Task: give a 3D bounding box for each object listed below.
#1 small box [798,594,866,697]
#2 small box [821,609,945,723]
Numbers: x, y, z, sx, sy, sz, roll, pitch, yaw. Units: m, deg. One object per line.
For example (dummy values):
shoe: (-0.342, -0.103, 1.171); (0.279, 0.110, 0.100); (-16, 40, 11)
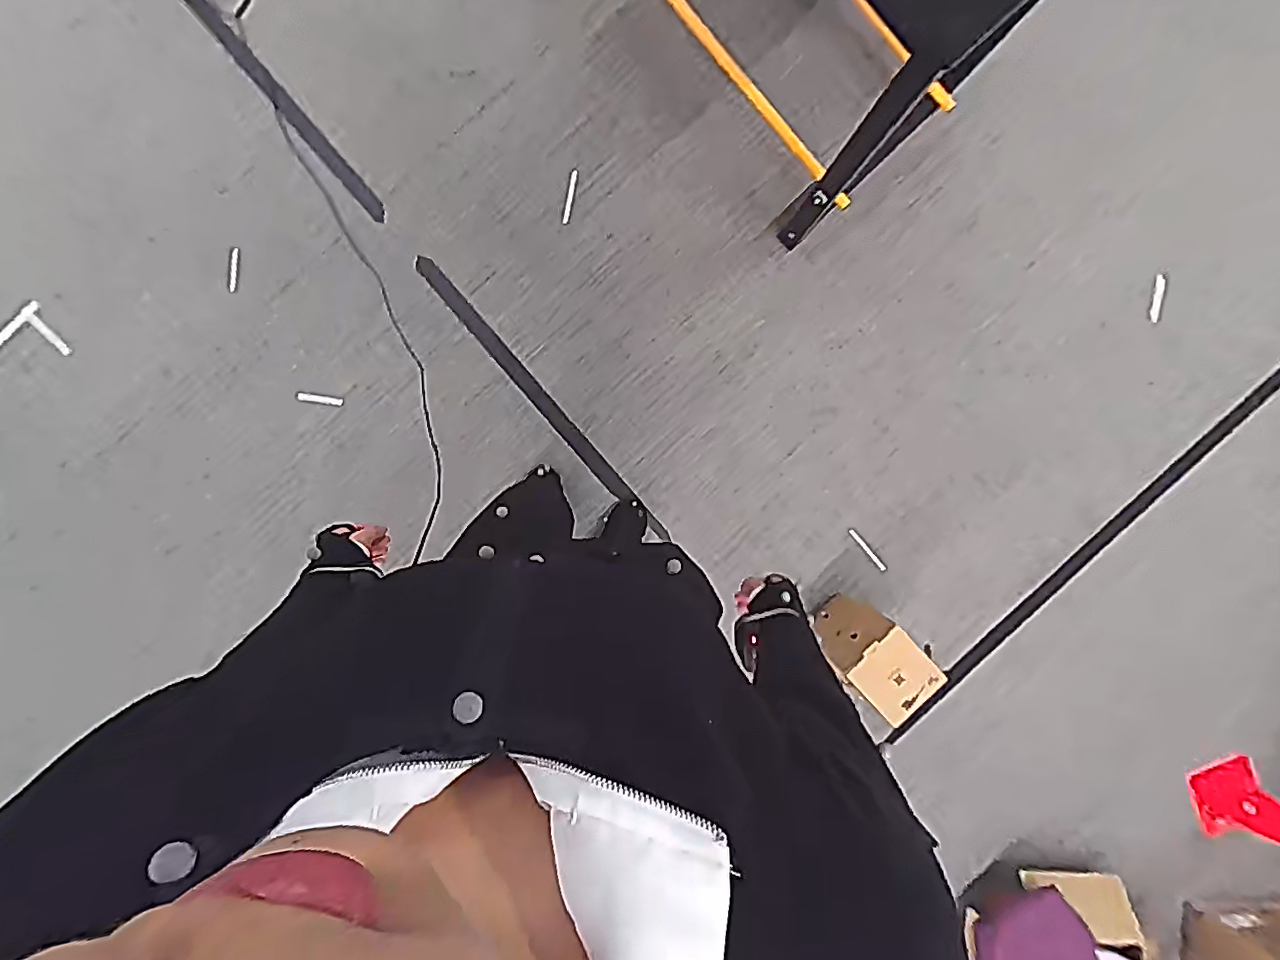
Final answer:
small box: (0.561, 0.435, 1.452); (0.168, 0.176, 0.179); (-41, 93, -1)
small box: (0.565, 0.429, 1.288); (0.168, 0.176, 0.179); (-42, 93, 0)
